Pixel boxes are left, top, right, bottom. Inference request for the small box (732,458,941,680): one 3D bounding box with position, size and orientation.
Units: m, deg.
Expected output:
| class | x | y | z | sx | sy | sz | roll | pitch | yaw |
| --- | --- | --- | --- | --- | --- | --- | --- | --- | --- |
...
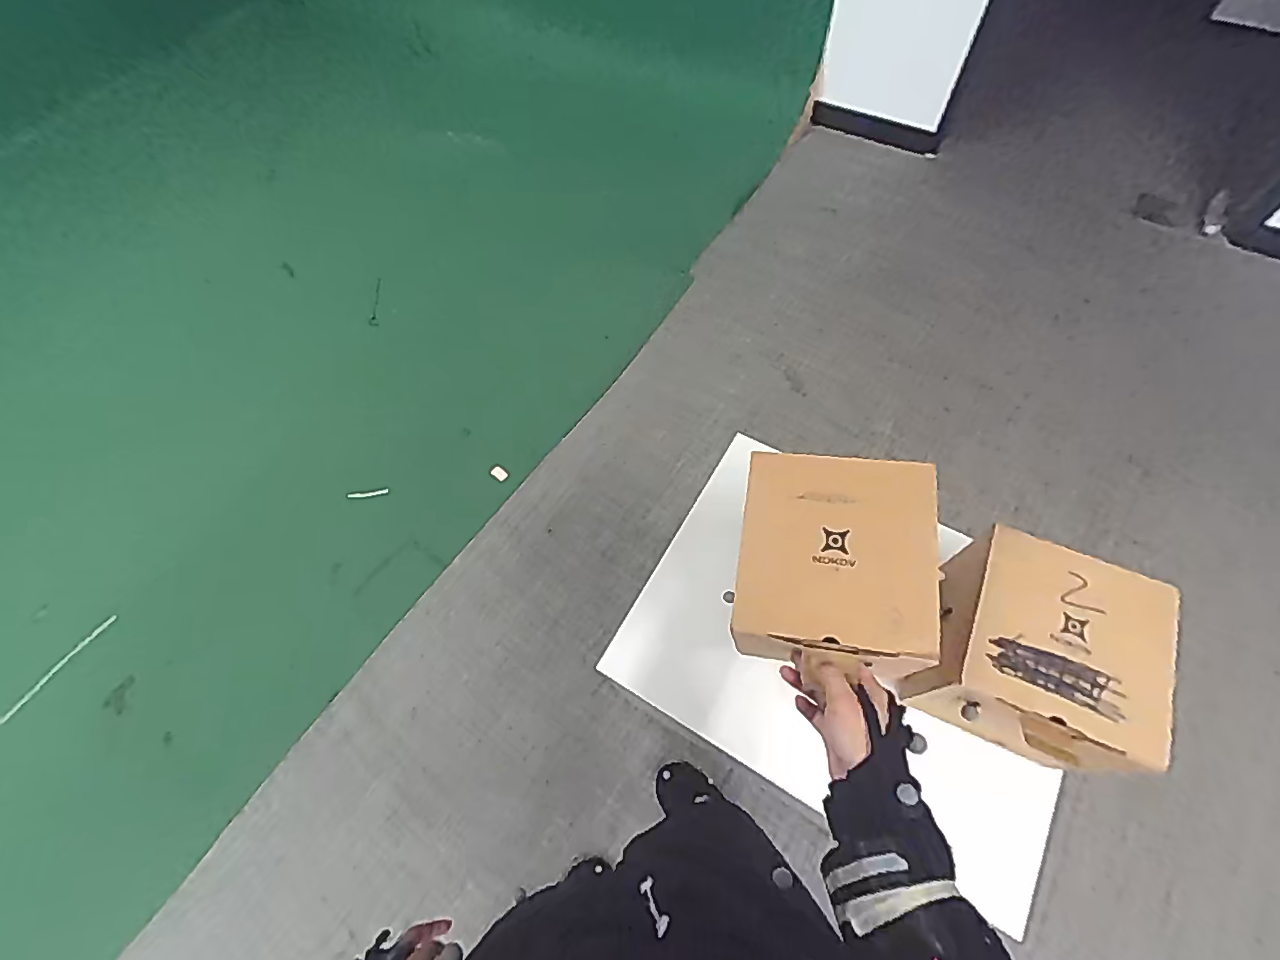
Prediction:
| class | x | y | z | sx | sy | sz | roll | pitch | yaw |
| --- | --- | --- | --- | --- | --- | --- | --- | --- | --- |
| small box | 0.187 | 0.095 | 0.544 | 0.168 | 0.176 | 0.179 | 4 | 65 | 13 |
